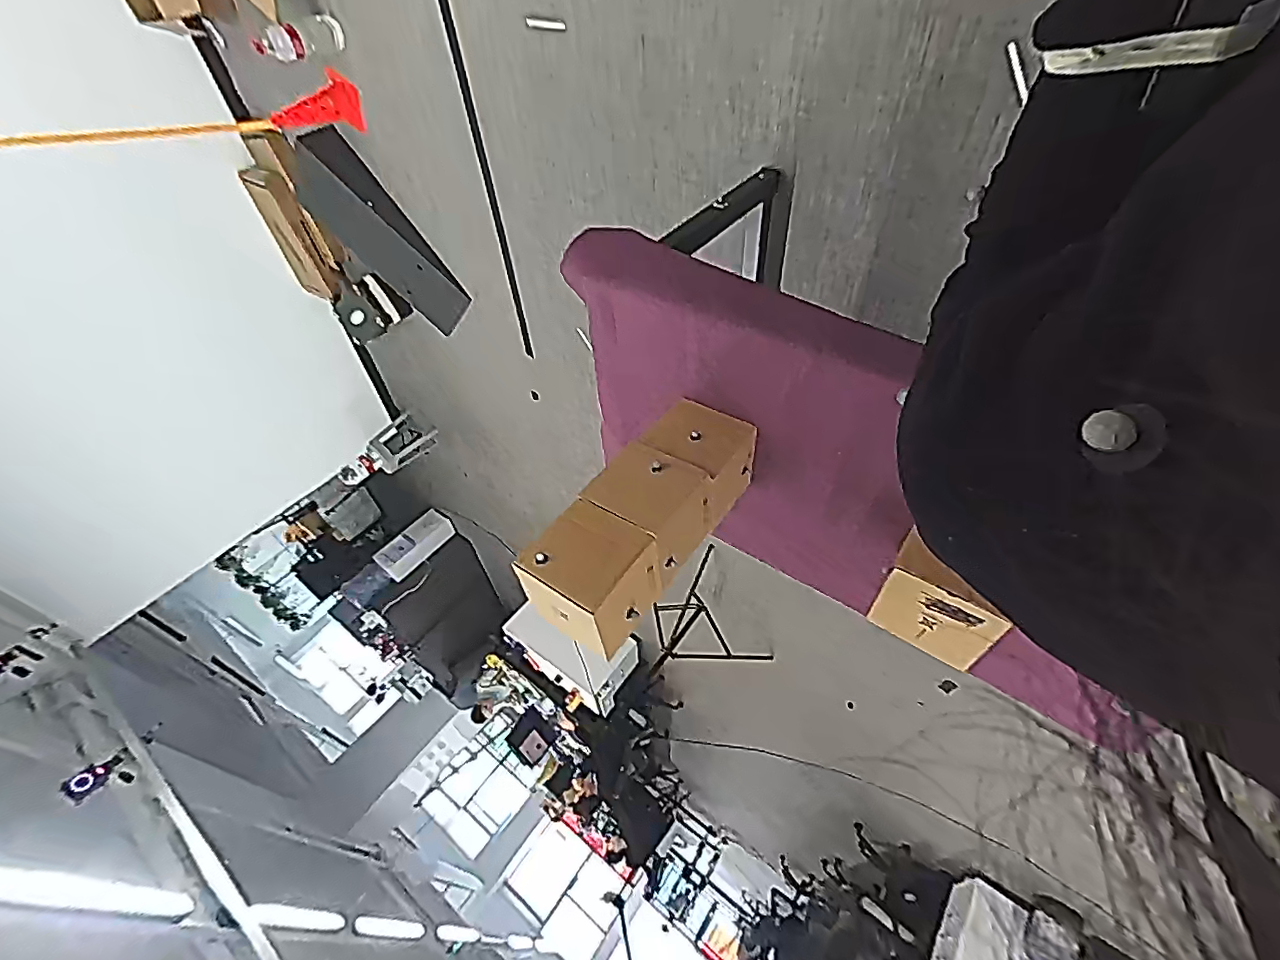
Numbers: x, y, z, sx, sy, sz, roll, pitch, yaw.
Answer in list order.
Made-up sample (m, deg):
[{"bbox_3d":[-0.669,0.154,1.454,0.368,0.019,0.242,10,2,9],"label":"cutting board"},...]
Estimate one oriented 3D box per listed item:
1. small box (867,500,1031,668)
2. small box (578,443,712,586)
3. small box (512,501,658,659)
[{"bbox_3d":[0.502,0.164,0.882,0.168,0.176,0.179,28,147,25],"label":"small box"},{"bbox_3d":[0.015,0.056,1.001,0.179,0.176,0.168,25,145,29],"label":"small box"},{"bbox_3d":[-0.081,0.164,0.924,0.179,0.176,0.168,25,145,28],"label":"small box"}]
